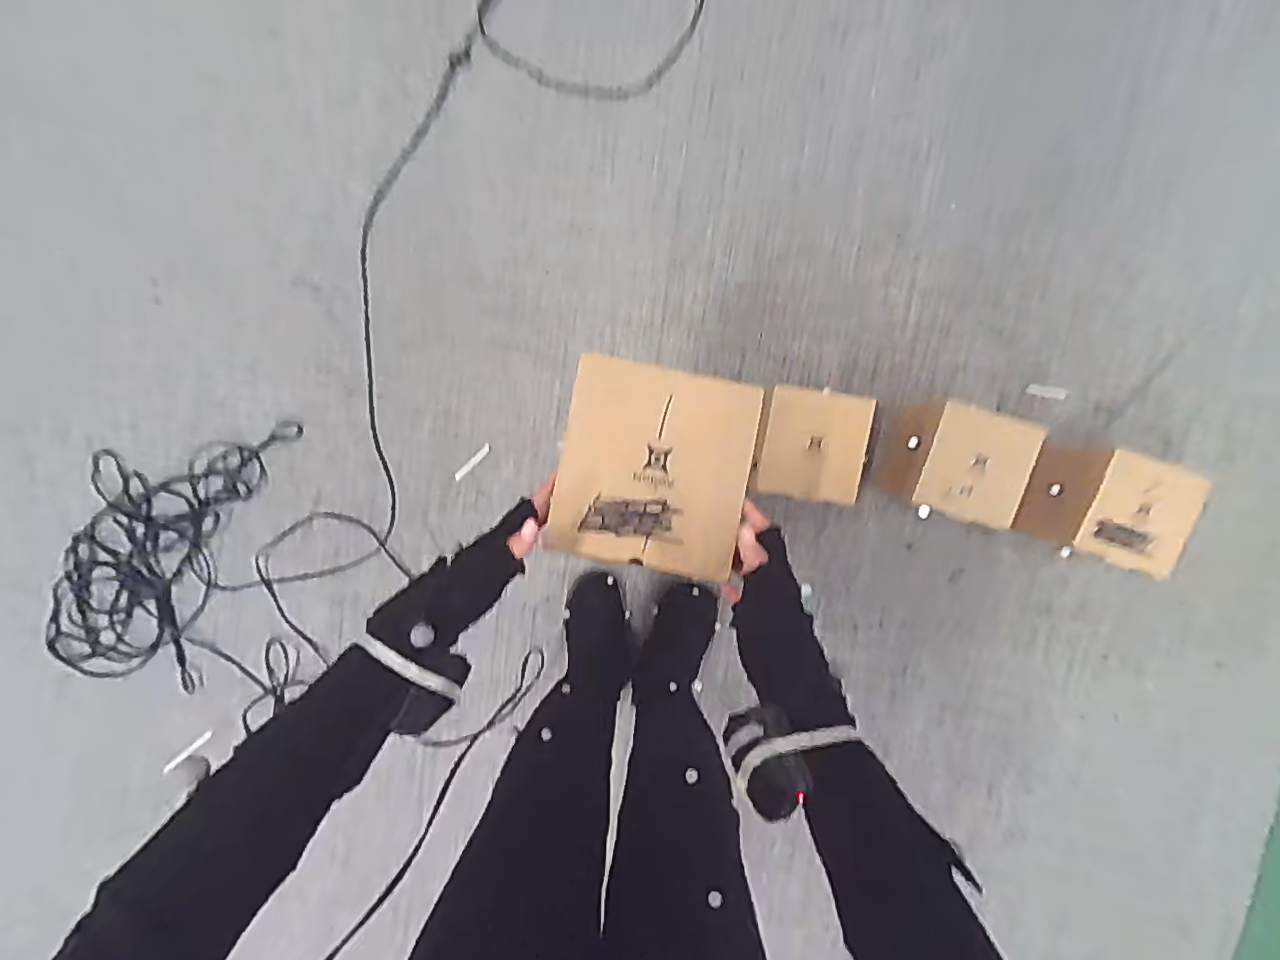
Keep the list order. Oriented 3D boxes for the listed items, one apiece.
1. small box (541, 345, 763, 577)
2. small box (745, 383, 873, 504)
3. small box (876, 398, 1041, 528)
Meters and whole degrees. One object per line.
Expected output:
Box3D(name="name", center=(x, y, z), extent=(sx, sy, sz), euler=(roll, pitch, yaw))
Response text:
Box3D(name="small box", center=(0.010, -0.017, 0.543), extent=(0.168, 0.176, 0.179), euler=(11, 90, -1))
Box3D(name="small box", center=(0.286, -0.066, 0.957), extent=(0.168, 0.176, 0.179), euler=(9, 97, 2))
Box3D(name="small box", center=(0.541, -0.035, 0.947), extent=(0.168, 0.176, 0.179), euler=(17, 97, 2))
